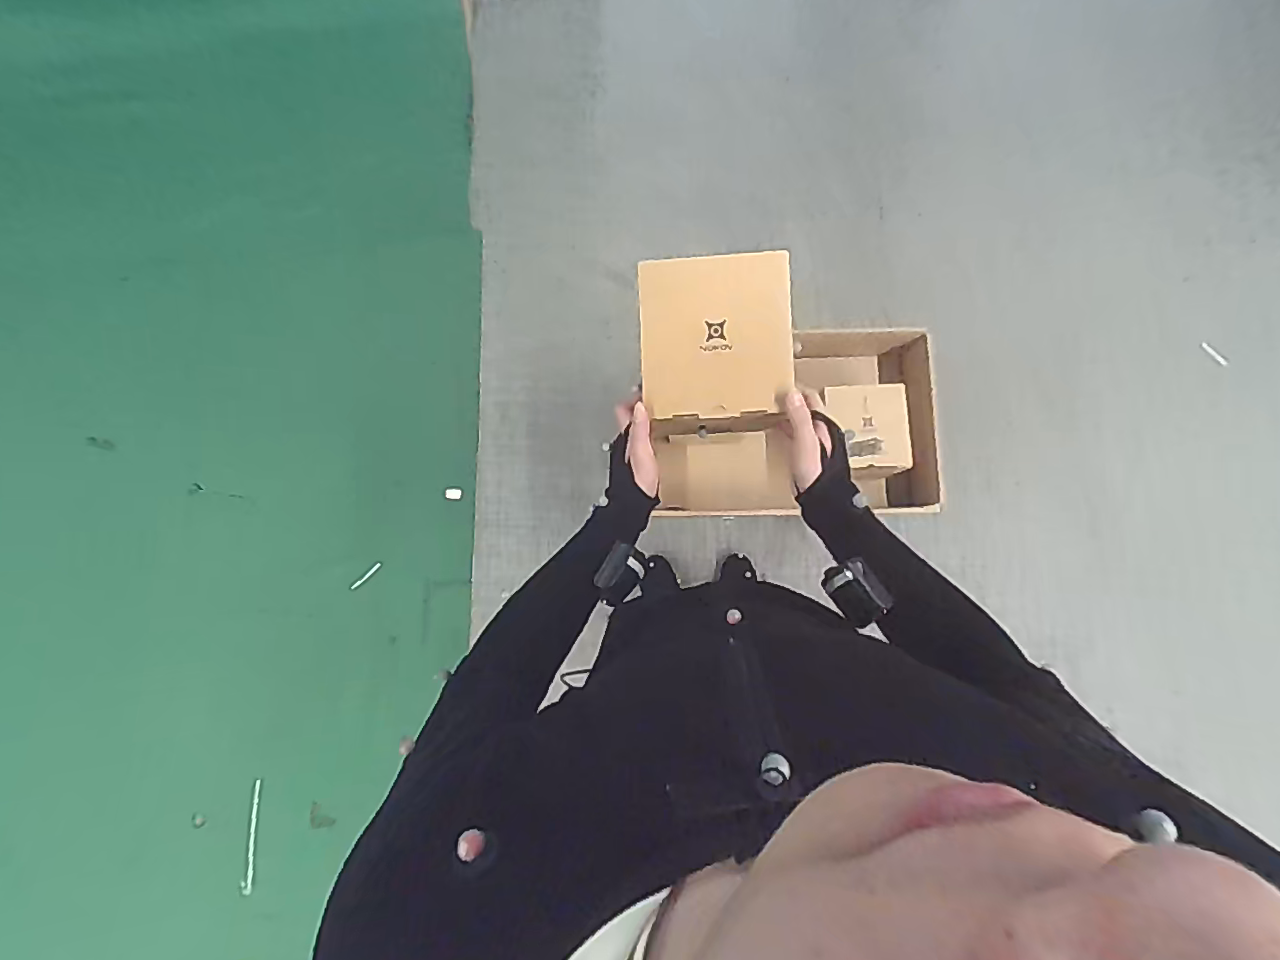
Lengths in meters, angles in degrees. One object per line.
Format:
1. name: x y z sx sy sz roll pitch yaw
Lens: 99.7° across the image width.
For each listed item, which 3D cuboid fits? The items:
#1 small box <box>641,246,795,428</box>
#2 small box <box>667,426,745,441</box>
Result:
1. small box: 0.085 -0.162 0.660 0.168 0.176 0.179 -2 90 3
2. small box: 0.143 -0.191 1.202 0.168 0.176 0.179 1 82 3
